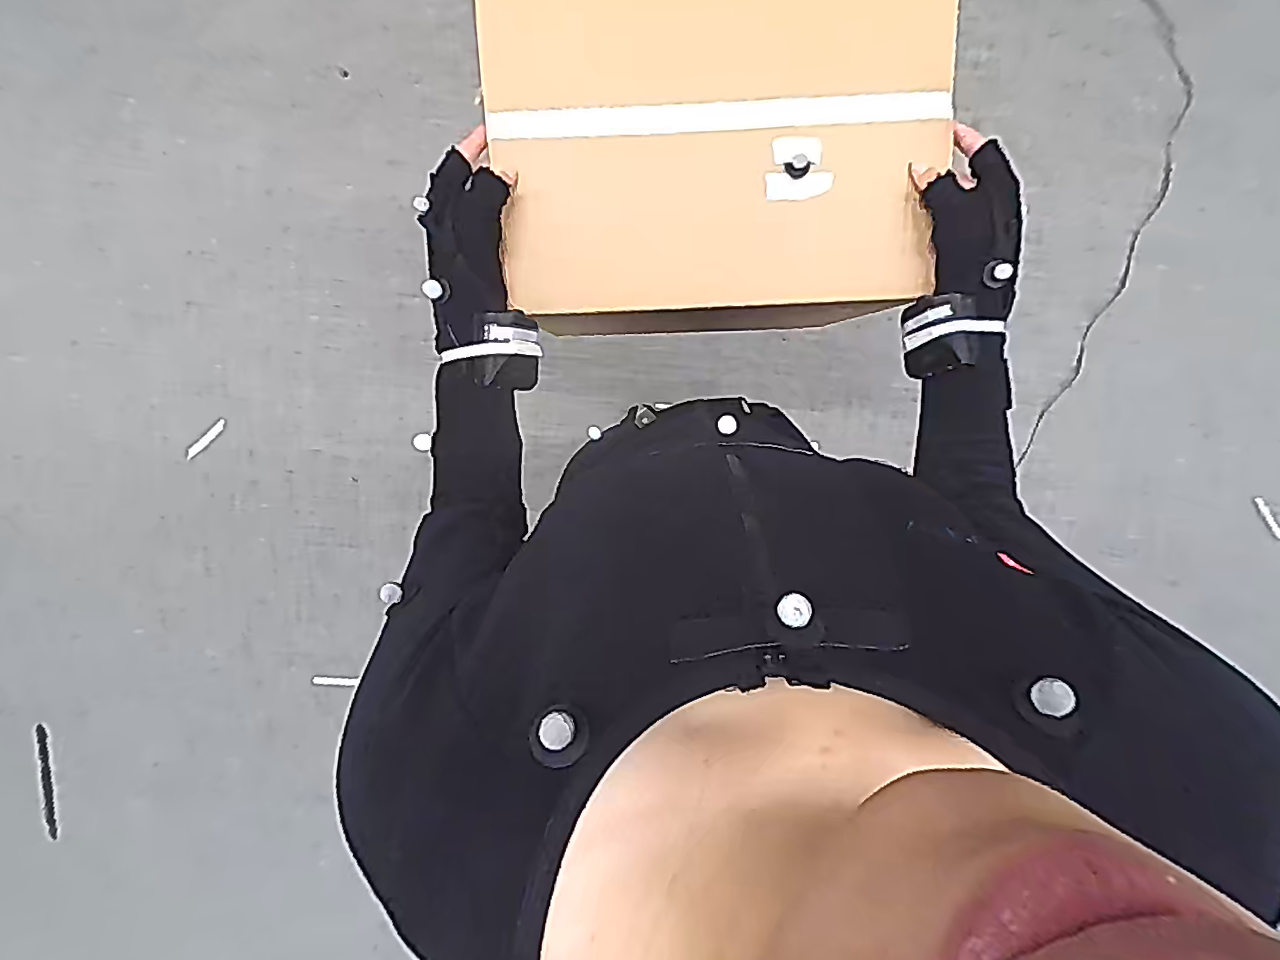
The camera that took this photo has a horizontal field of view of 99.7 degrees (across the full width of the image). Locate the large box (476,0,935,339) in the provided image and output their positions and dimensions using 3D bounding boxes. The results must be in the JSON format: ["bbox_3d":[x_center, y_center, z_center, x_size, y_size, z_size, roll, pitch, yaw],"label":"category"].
[{"bbox_3d":[0.059,-0.347,0.631,0.408,0.320,0.320,-3,101,-1],"label":"large box"}]
